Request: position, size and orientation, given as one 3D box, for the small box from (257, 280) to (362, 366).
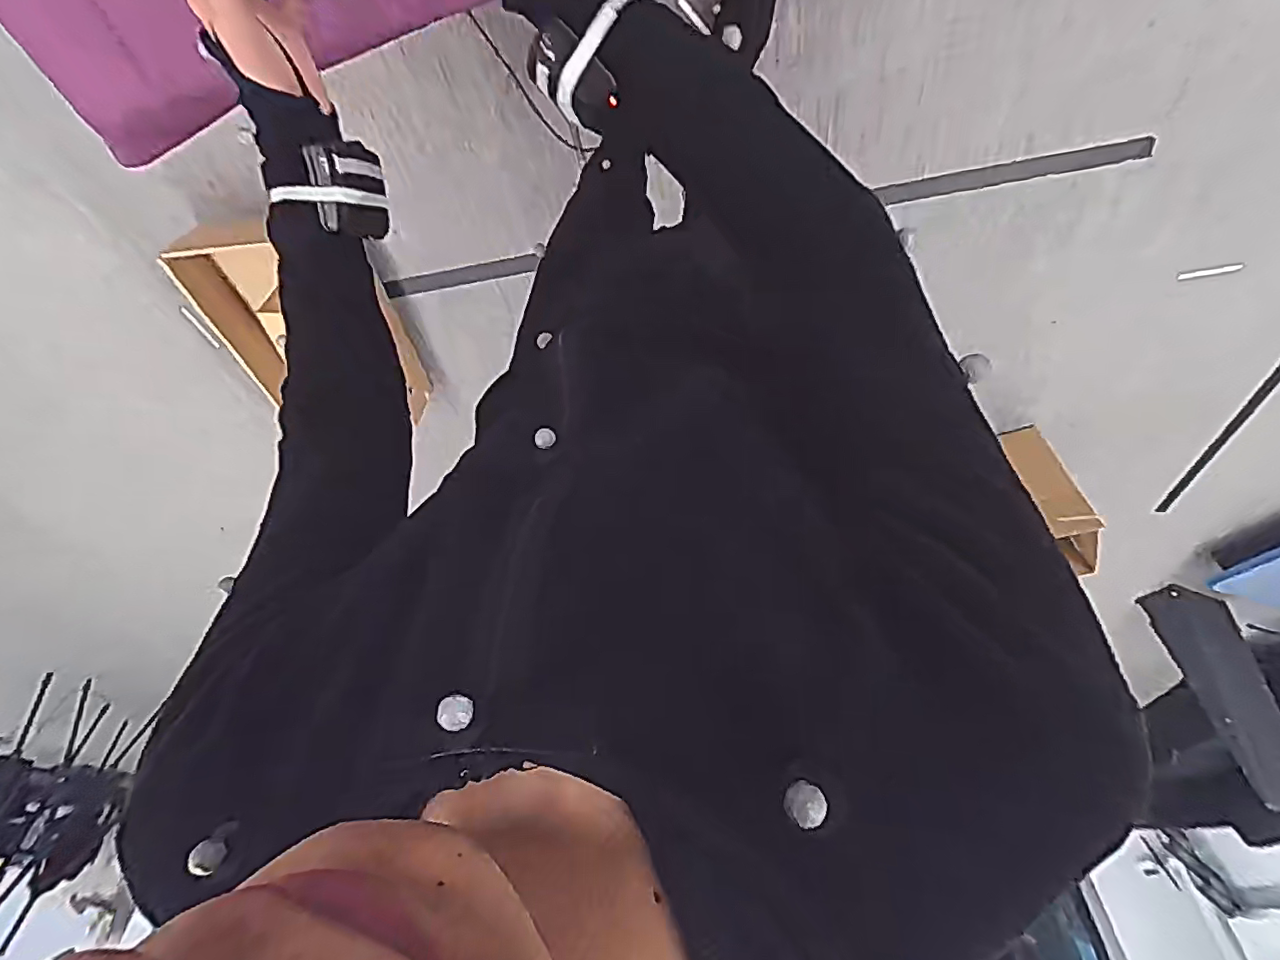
[{"bbox_3d":[-0.884,-0.429,1.475,0.179,0.176,0.168,1,140,-2],"label":"small box"}]
